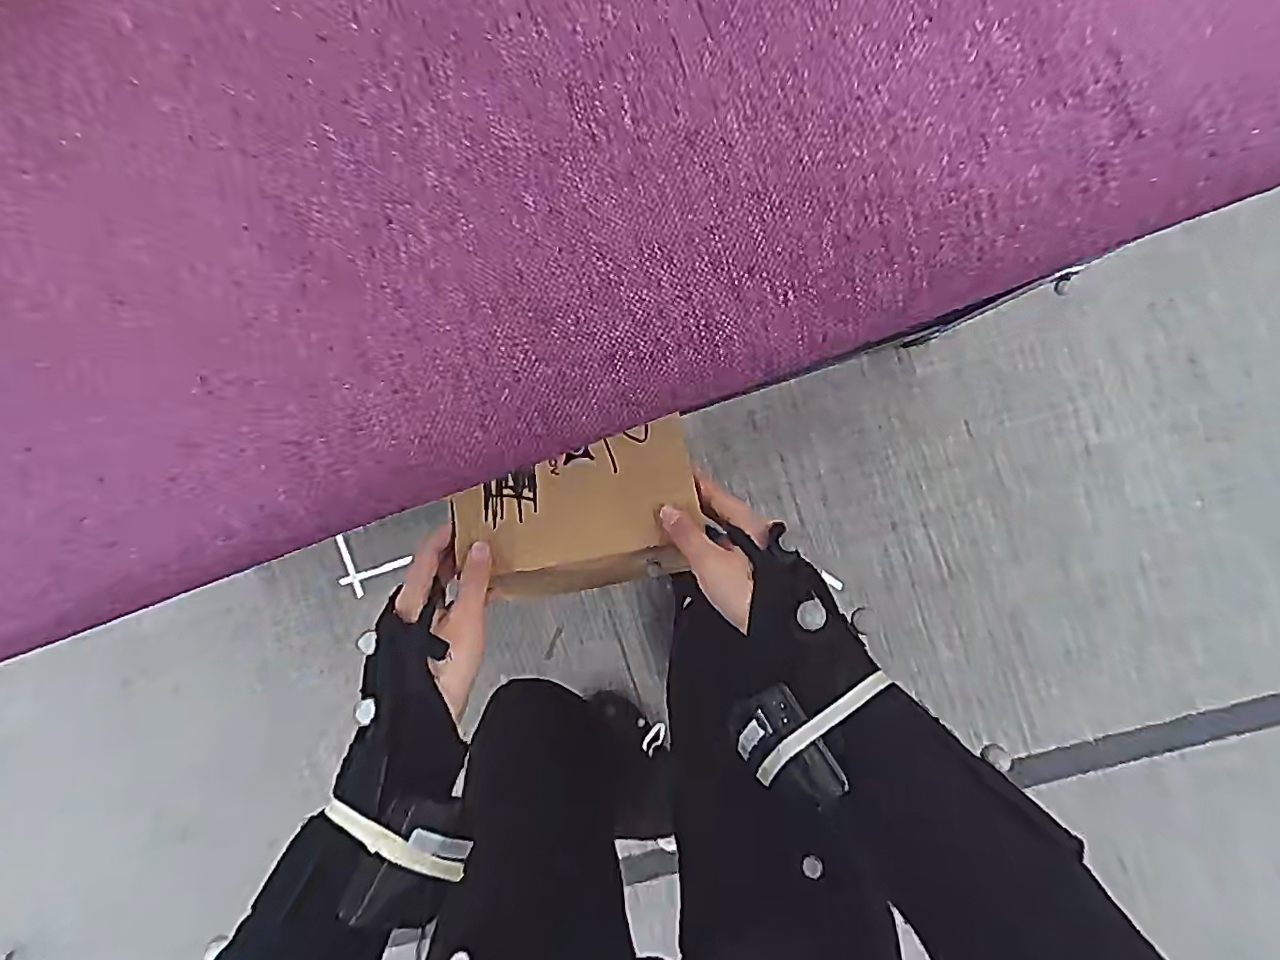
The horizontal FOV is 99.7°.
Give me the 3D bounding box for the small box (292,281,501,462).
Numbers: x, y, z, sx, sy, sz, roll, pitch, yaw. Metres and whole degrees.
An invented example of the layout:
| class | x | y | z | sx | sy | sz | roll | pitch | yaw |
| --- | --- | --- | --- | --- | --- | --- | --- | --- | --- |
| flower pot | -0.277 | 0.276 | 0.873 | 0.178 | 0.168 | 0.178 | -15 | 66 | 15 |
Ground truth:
| class | x | y | z | sx | sy | sz | roll | pitch | yaw |
| --- | --- | --- | --- | --- | --- | --- | --- | --- | --- |
| small box | -0.292 | -0.126 | 0.688 | 0.168 | 0.176 | 0.179 | -13 | 92 | 3 |
